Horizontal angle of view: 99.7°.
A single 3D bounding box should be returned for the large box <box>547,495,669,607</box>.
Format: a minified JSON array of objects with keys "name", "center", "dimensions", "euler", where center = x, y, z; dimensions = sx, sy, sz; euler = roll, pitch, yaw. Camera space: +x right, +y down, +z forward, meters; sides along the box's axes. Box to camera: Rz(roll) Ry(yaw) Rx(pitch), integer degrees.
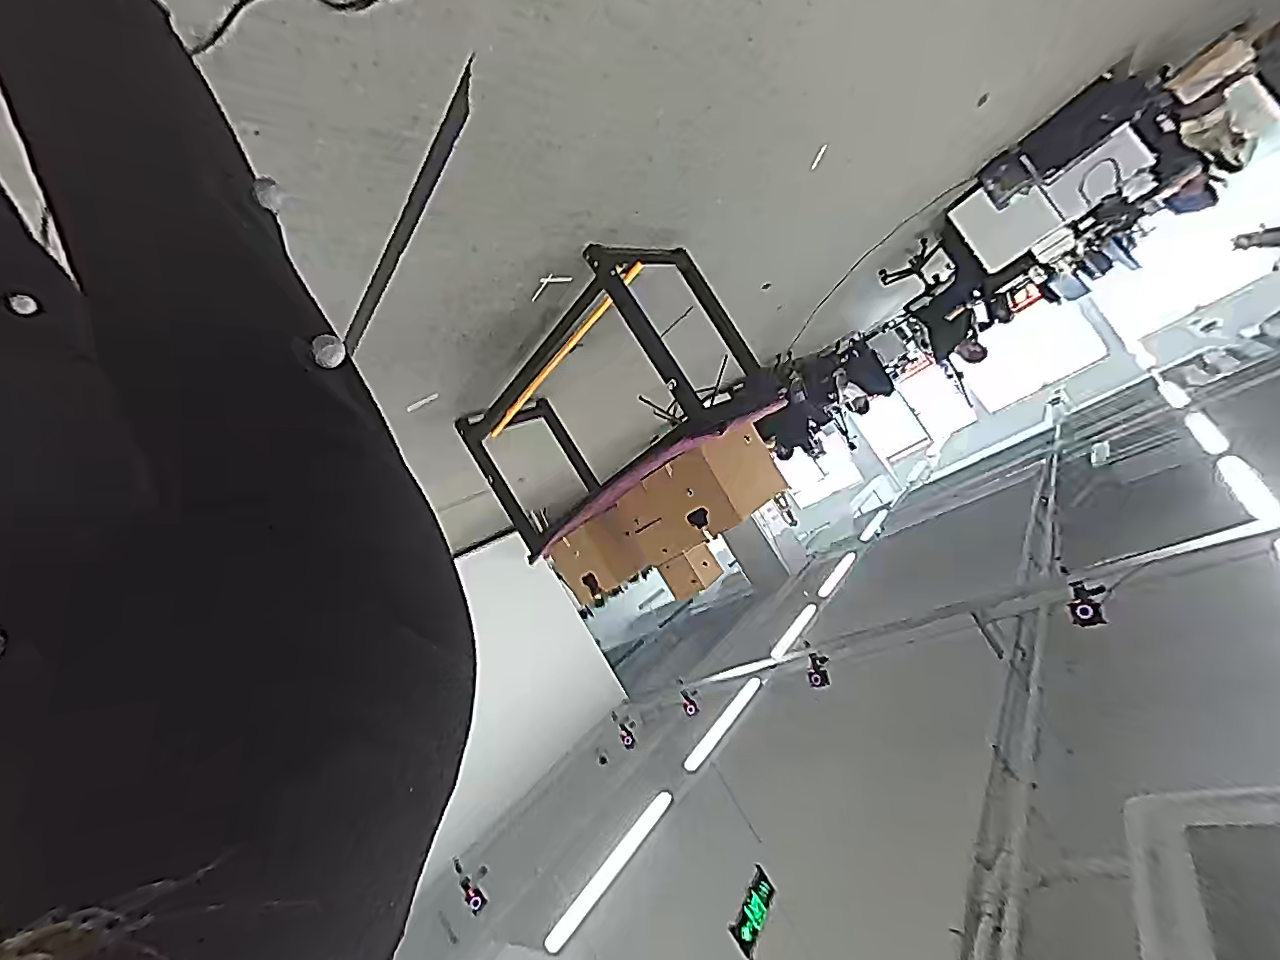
[{"name":"large box","center":[-0.148,0.321,2.504],"dimensions":[0.320,0.320,0.408],"euler":[-36,175,41]}]
